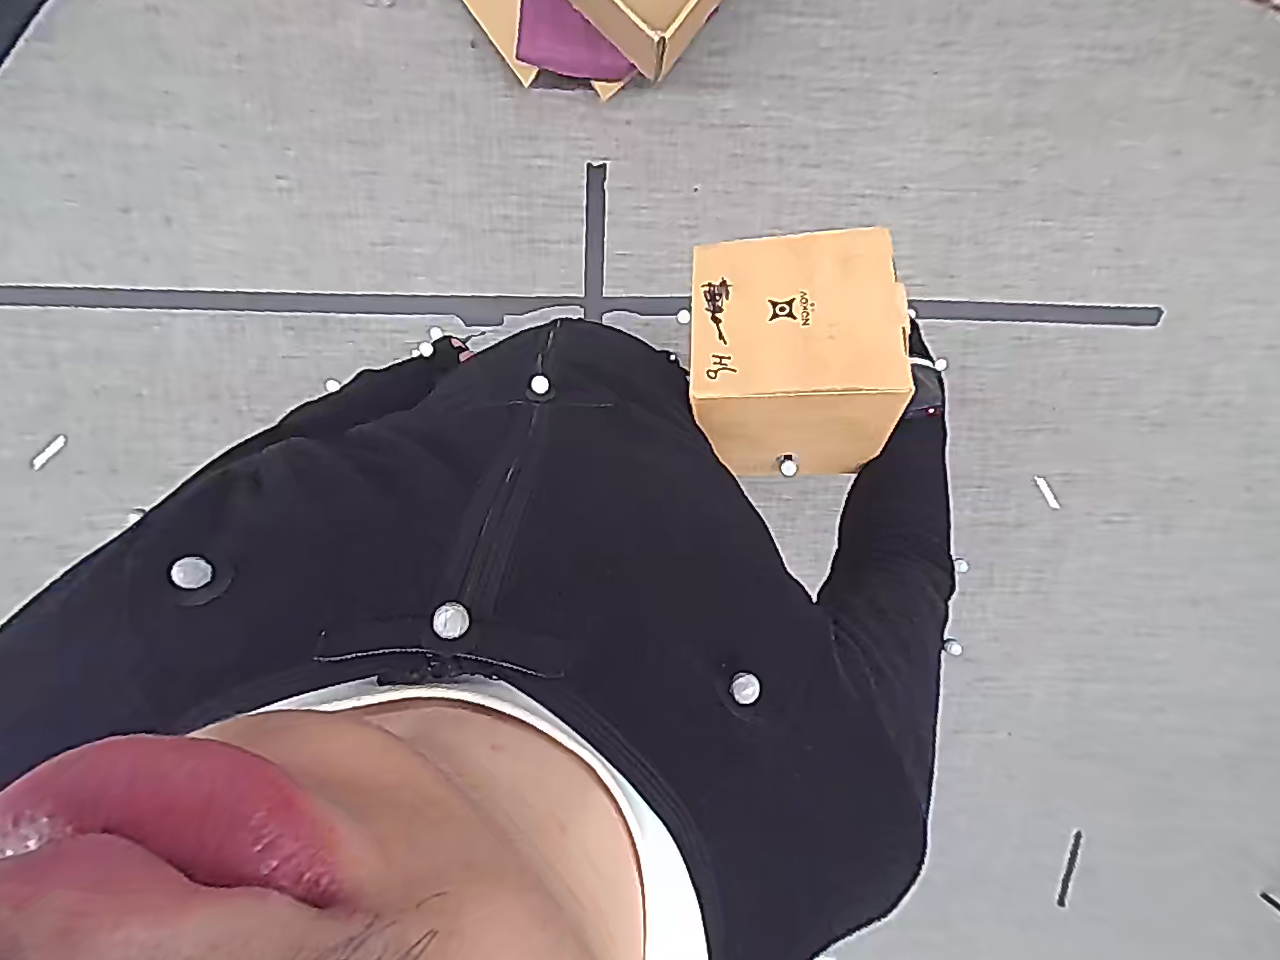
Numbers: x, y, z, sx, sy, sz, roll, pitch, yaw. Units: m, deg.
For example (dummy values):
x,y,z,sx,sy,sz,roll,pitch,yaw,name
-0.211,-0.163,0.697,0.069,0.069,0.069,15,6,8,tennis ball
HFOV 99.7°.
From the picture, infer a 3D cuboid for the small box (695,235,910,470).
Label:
x,y,z,sx,sy,sz,roll,pitch,yaw,name
0.150,-0.117,0.548,0.179,0.176,0.168,0,67,10,small box
